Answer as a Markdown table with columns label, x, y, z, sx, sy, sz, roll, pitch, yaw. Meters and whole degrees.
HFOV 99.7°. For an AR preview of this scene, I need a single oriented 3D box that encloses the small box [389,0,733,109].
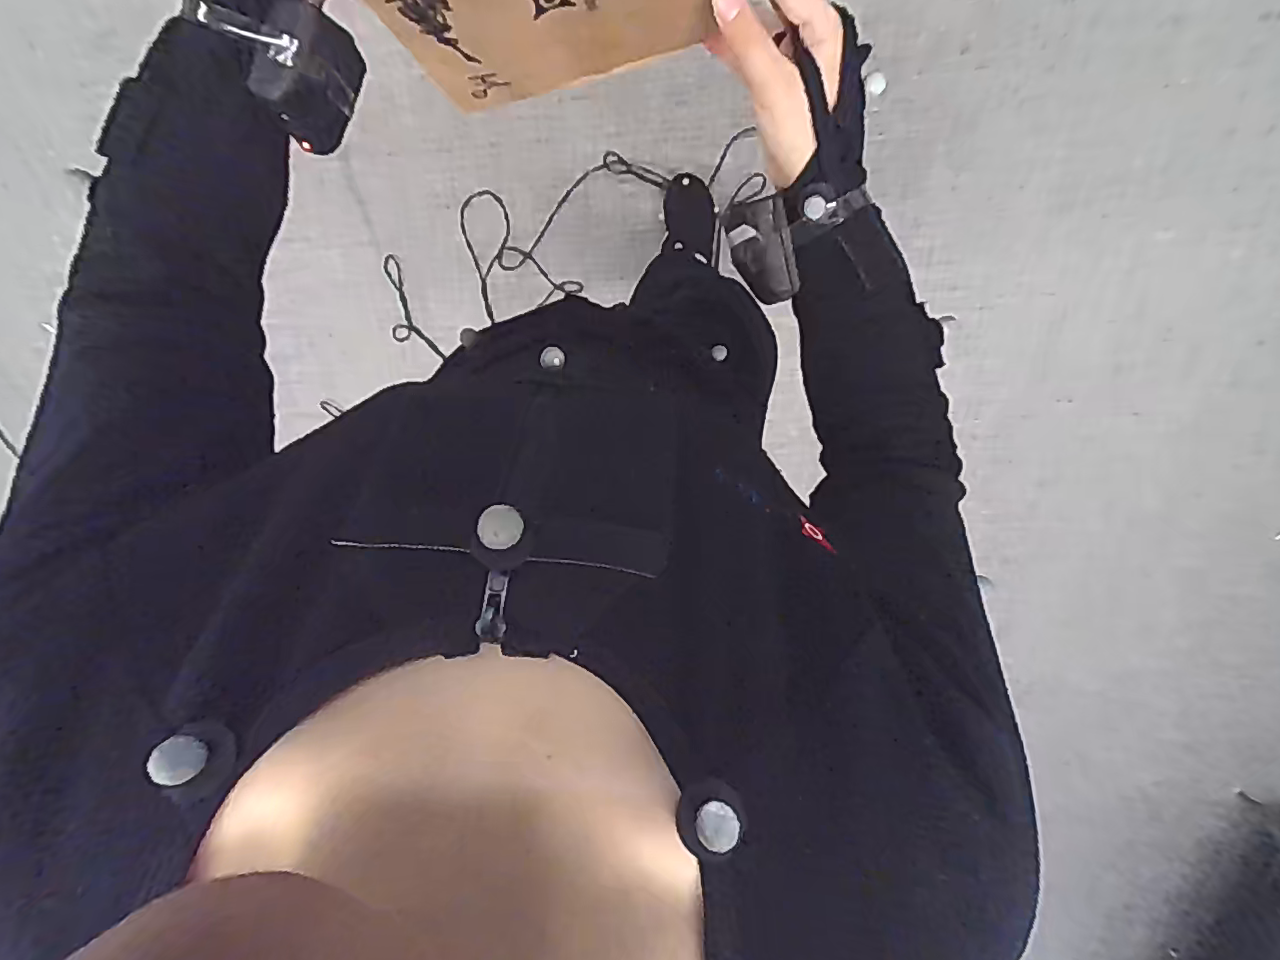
| label | x | y | z | sx | sy | sz | roll | pitch | yaw |
| --- | --- | --- | --- | --- | --- | --- | --- | --- | --- |
| small box | -0.051 | -0.324 | 0.253 | 0.179 | 0.168 | 0.176 | -14 | 101 | 5 |
